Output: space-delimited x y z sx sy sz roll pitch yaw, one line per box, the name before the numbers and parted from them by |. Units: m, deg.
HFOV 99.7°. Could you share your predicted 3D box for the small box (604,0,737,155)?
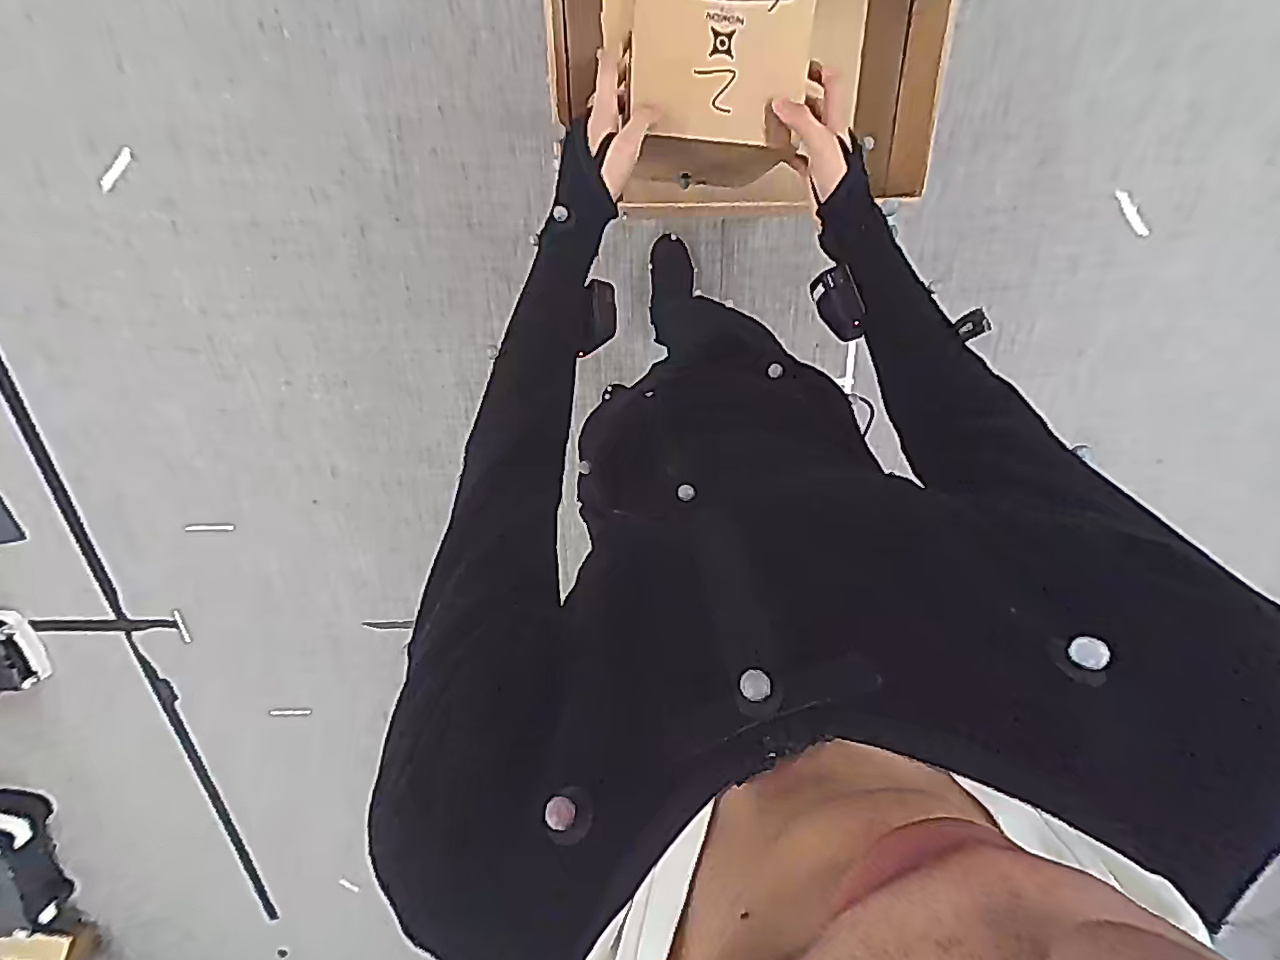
small box | 0.035 -0.565 0.744 0.168 0.176 0.179 0 112 0
